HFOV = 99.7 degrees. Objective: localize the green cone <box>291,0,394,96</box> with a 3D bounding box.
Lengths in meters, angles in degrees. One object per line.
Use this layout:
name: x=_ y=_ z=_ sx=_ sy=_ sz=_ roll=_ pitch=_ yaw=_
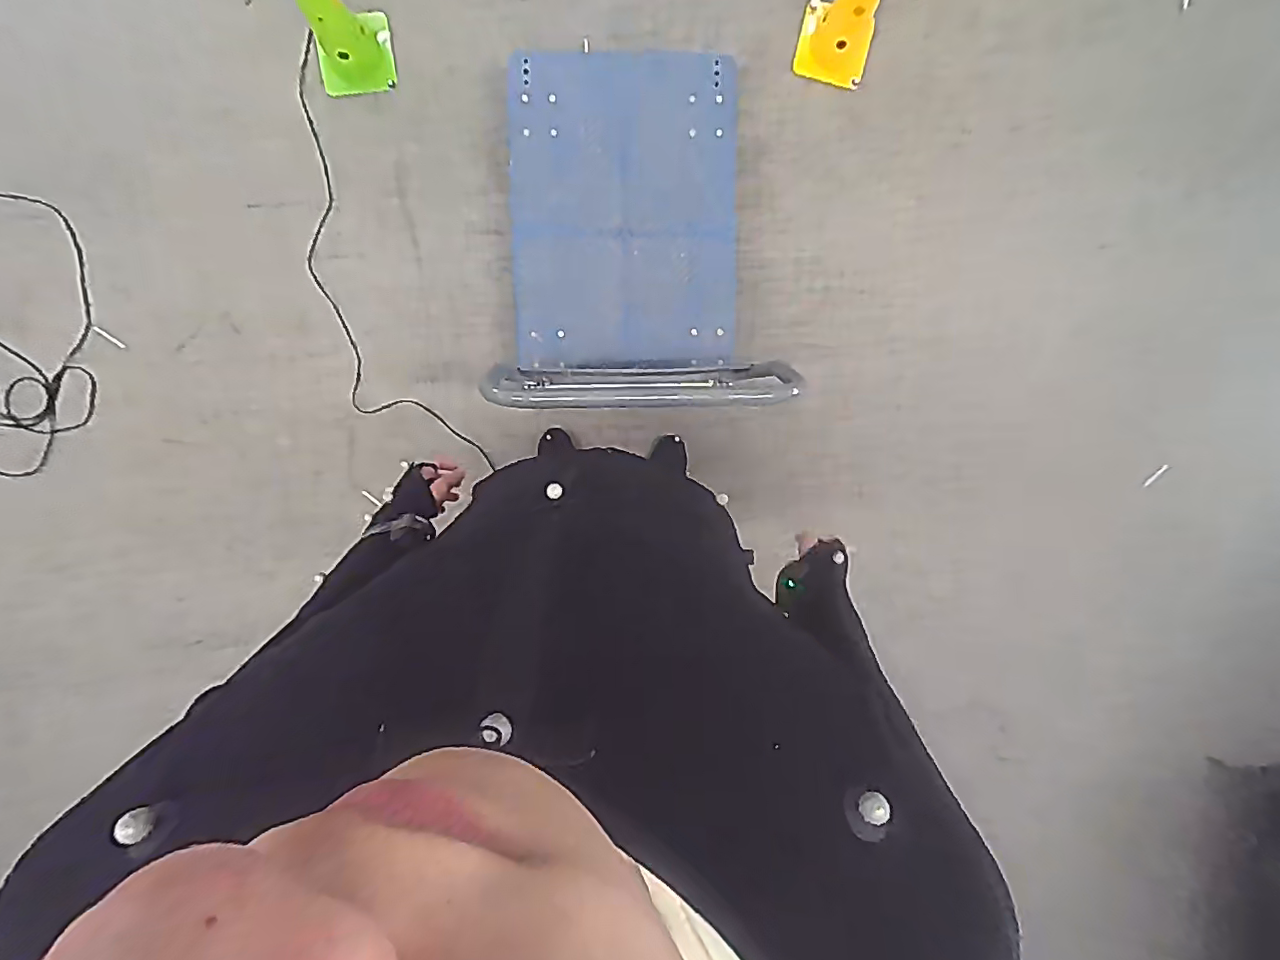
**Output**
green cone: x=-0.783 y=-1.150 z=1.306 sx=0.202 sy=0.368 sz=0.200 roll=-8 pitch=96 yaw=1
